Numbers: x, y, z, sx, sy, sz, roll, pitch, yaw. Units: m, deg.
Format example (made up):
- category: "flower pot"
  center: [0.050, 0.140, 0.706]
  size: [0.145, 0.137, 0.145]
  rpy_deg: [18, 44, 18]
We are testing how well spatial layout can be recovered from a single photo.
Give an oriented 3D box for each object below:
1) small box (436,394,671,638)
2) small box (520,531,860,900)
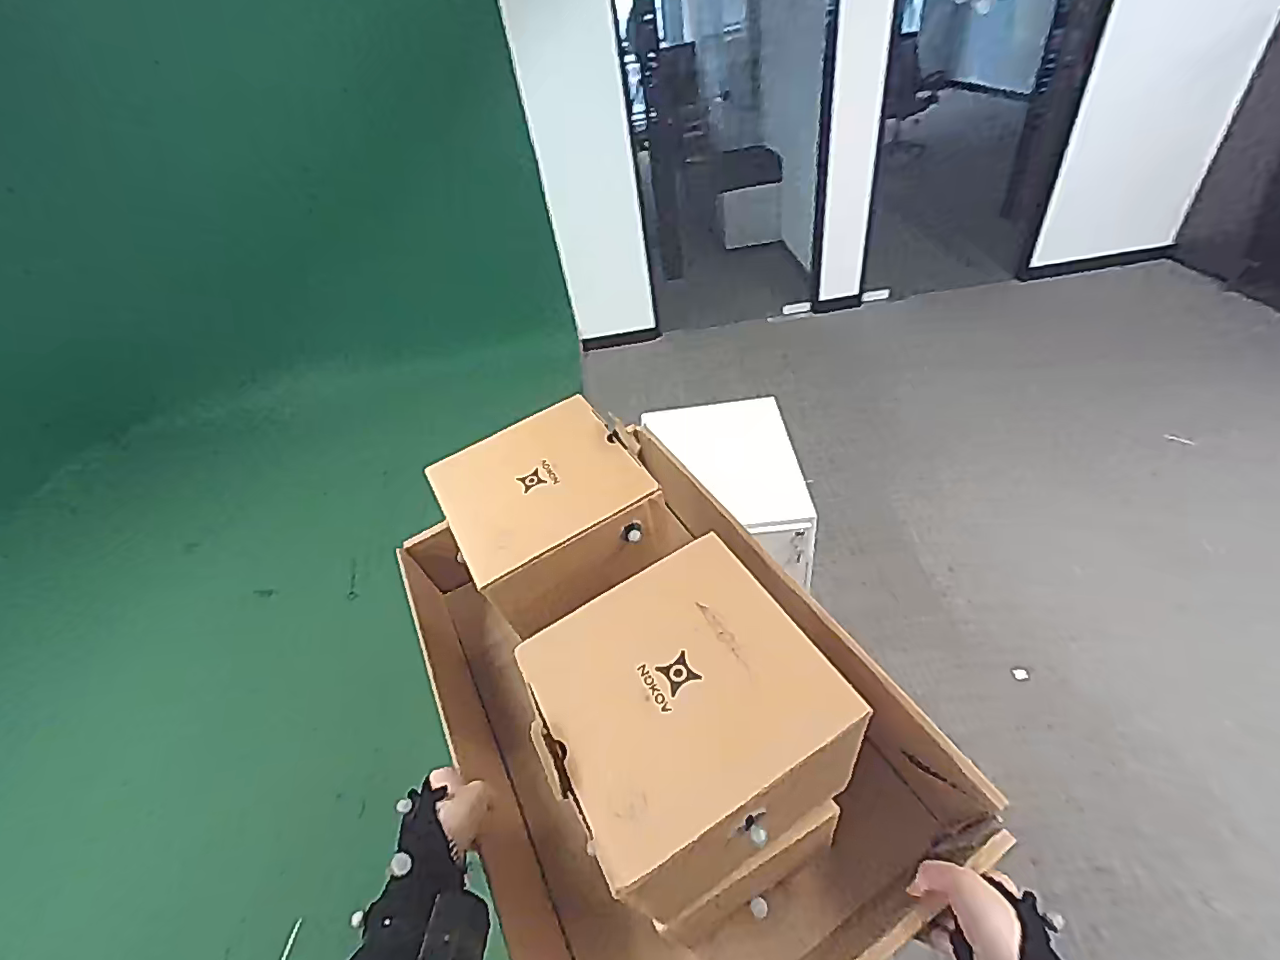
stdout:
- category: "small box"
  center: [-0.079, 0.049, 0.565]
  size: [0.179, 0.176, 0.168]
  rpy_deg: [-28, 50, -14]
- category: "small box"
  center: [0.038, 0.180, 0.414]
  size: [0.179, 0.176, 0.168]
  rpy_deg: [-28, 48, -13]
